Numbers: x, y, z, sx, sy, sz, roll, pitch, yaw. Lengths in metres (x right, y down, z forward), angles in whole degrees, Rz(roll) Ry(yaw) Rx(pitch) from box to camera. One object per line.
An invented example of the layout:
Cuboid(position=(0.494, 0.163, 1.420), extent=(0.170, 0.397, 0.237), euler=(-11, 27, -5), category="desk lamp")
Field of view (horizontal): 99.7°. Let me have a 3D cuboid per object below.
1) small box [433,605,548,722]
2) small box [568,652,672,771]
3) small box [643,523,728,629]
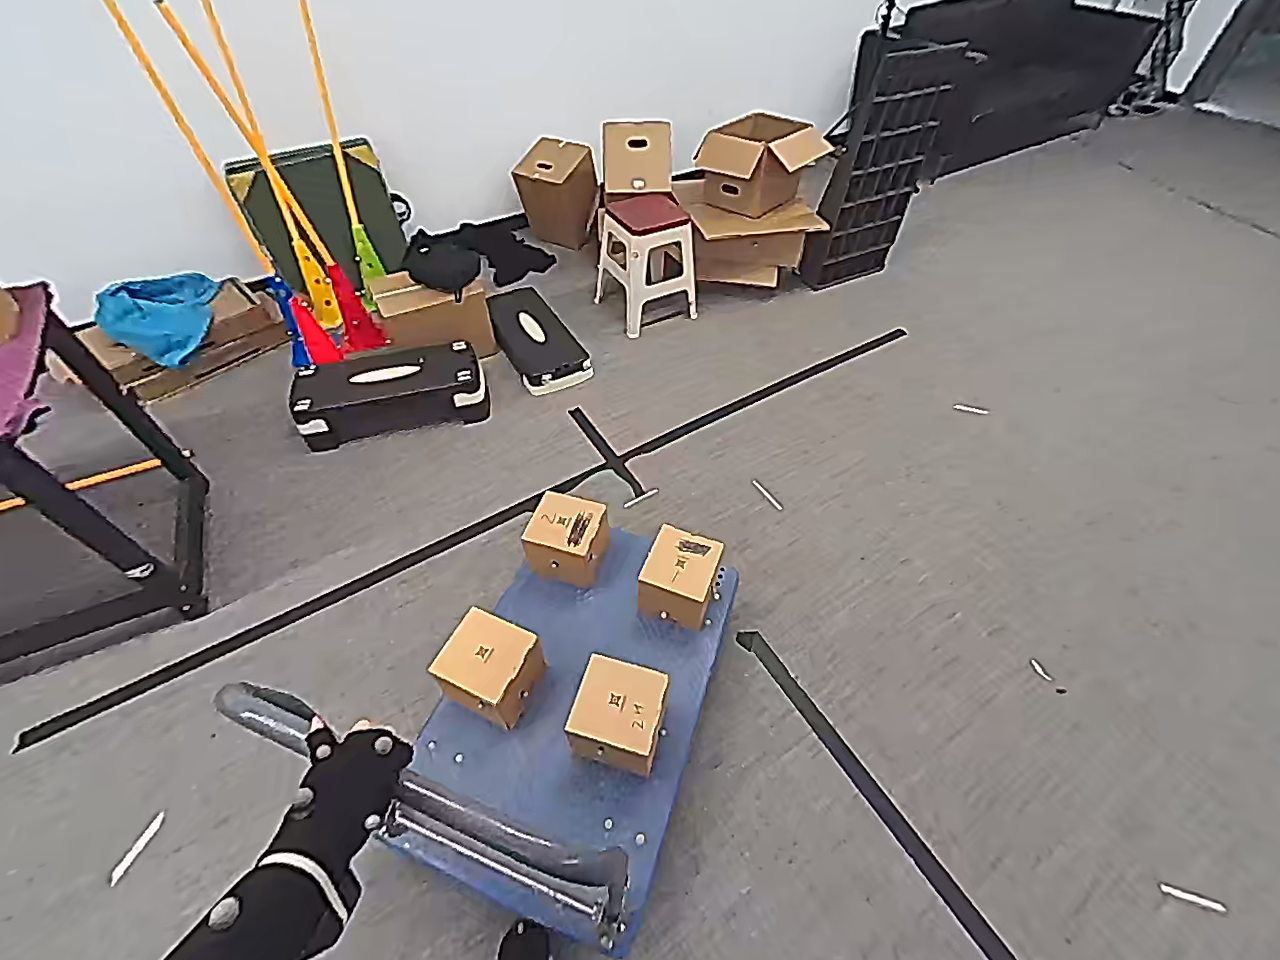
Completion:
Cuboid(position=(-0.328, 0.419, 1.222), extent=(0.179, 0.176, 0.168), euler=(20, 52, 14), category="small box")
Cuboid(position=(-0.037, 0.497, 1.155), extent=(0.179, 0.176, 0.168), euler=(13, 51, 11), category="small box")
Cuboid(position=(0.110, 0.245, 1.371), extent=(0.168, 0.176, 0.179), euler=(18, 53, 14), category="small box")
